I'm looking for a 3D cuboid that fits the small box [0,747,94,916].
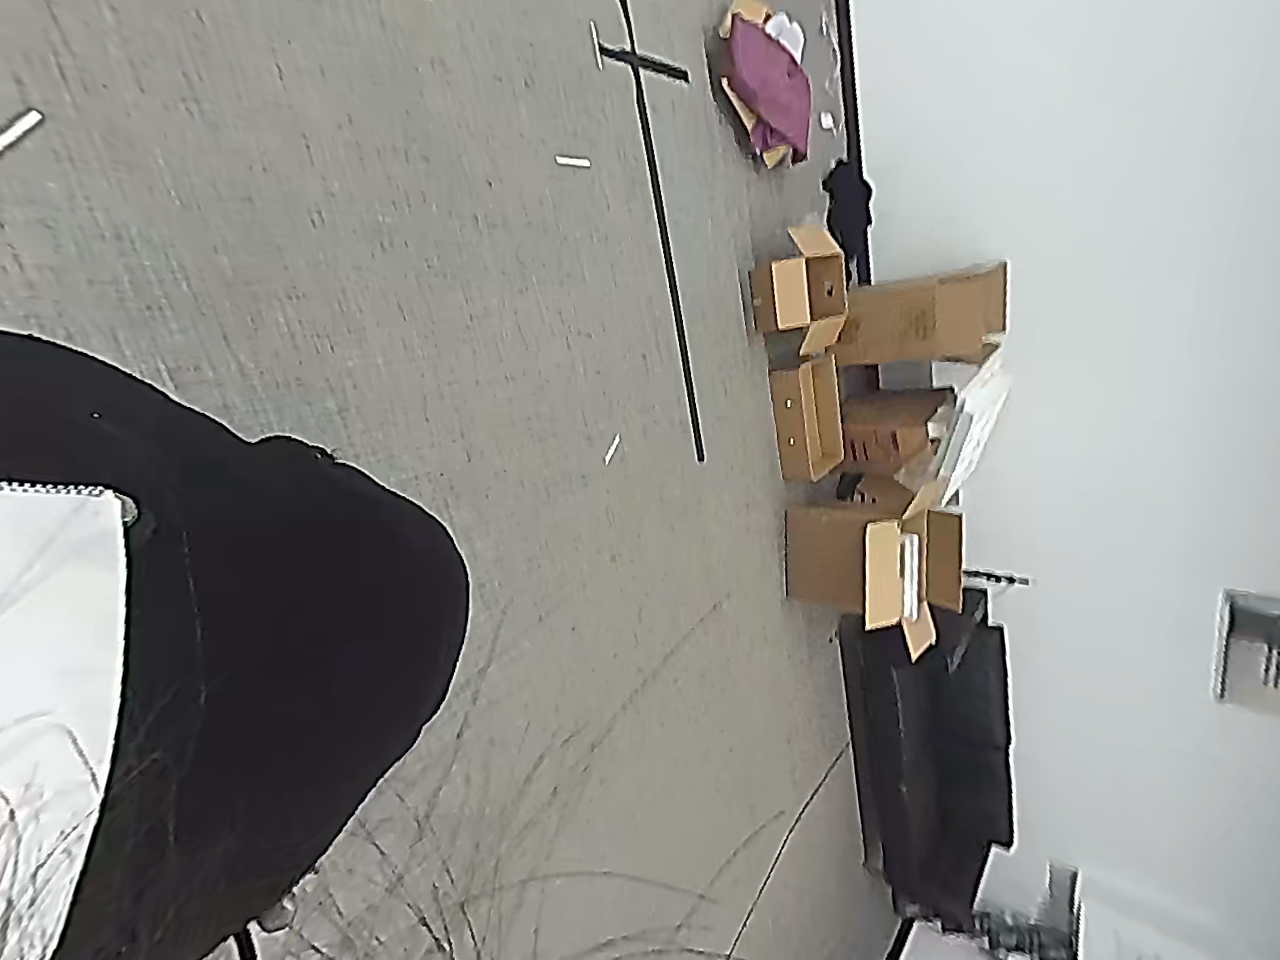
[{"bbox_3d":[-0.986,0.545,0.828,0.179,0.176,0.168,-26,111,-42],"label":"small box"}]
